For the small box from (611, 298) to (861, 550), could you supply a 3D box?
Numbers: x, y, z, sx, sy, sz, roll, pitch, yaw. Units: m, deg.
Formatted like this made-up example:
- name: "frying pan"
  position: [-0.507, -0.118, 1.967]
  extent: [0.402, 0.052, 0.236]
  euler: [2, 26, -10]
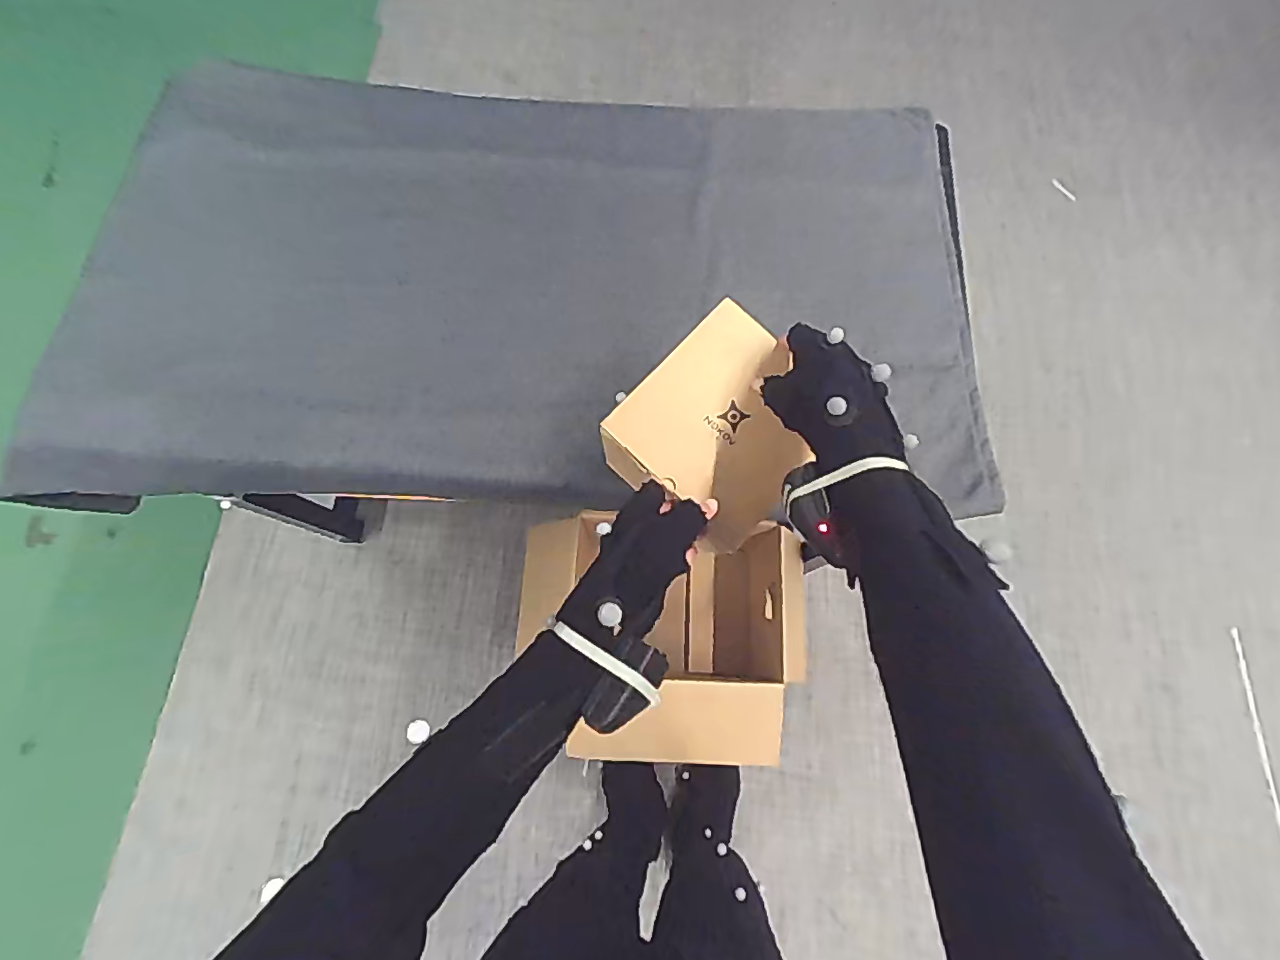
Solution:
- name: "small box"
  position: [0.085, -0.045, 0.568]
  extent: [0.168, 0.176, 0.179]
  euler: [43, 84, 4]
